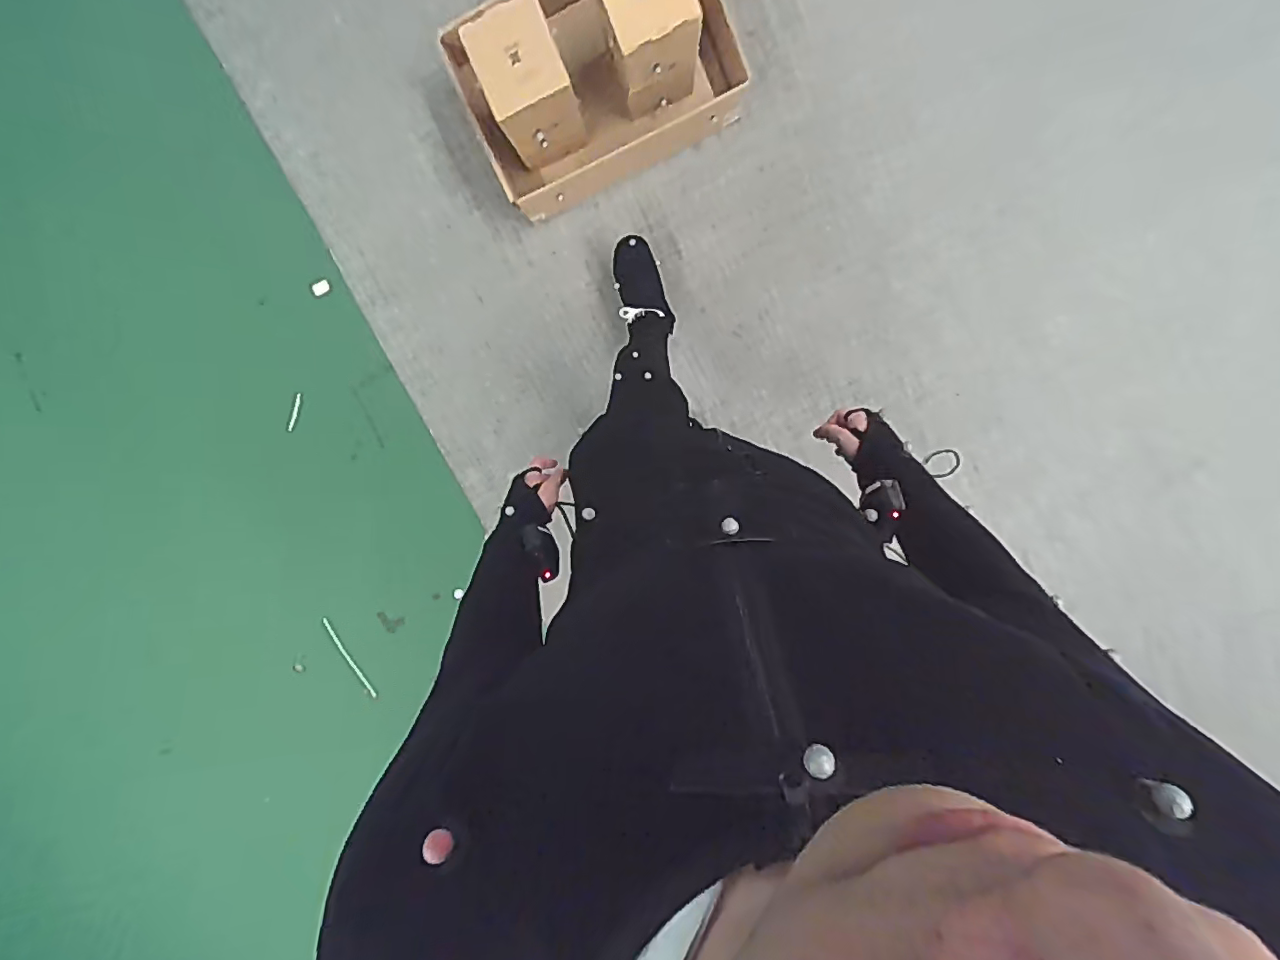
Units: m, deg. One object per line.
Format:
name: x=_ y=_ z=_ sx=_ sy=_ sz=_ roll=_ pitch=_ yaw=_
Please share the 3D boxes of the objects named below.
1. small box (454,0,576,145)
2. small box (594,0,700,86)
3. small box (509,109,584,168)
small box: x=-0.247 y=-0.837 z=1.112 sx=0.168 sy=0.176 sz=0.179 roll=-22 pitch=102 yaw=7
small box: x=0.007 y=-0.945 z=1.080 sx=0.168 sy=0.176 sz=0.179 roll=-22 pitch=103 yaw=7
small box: x=-0.244 y=-0.877 z=1.269 sx=0.168 sy=0.176 sz=0.179 roll=-22 pitch=101 yaw=7
